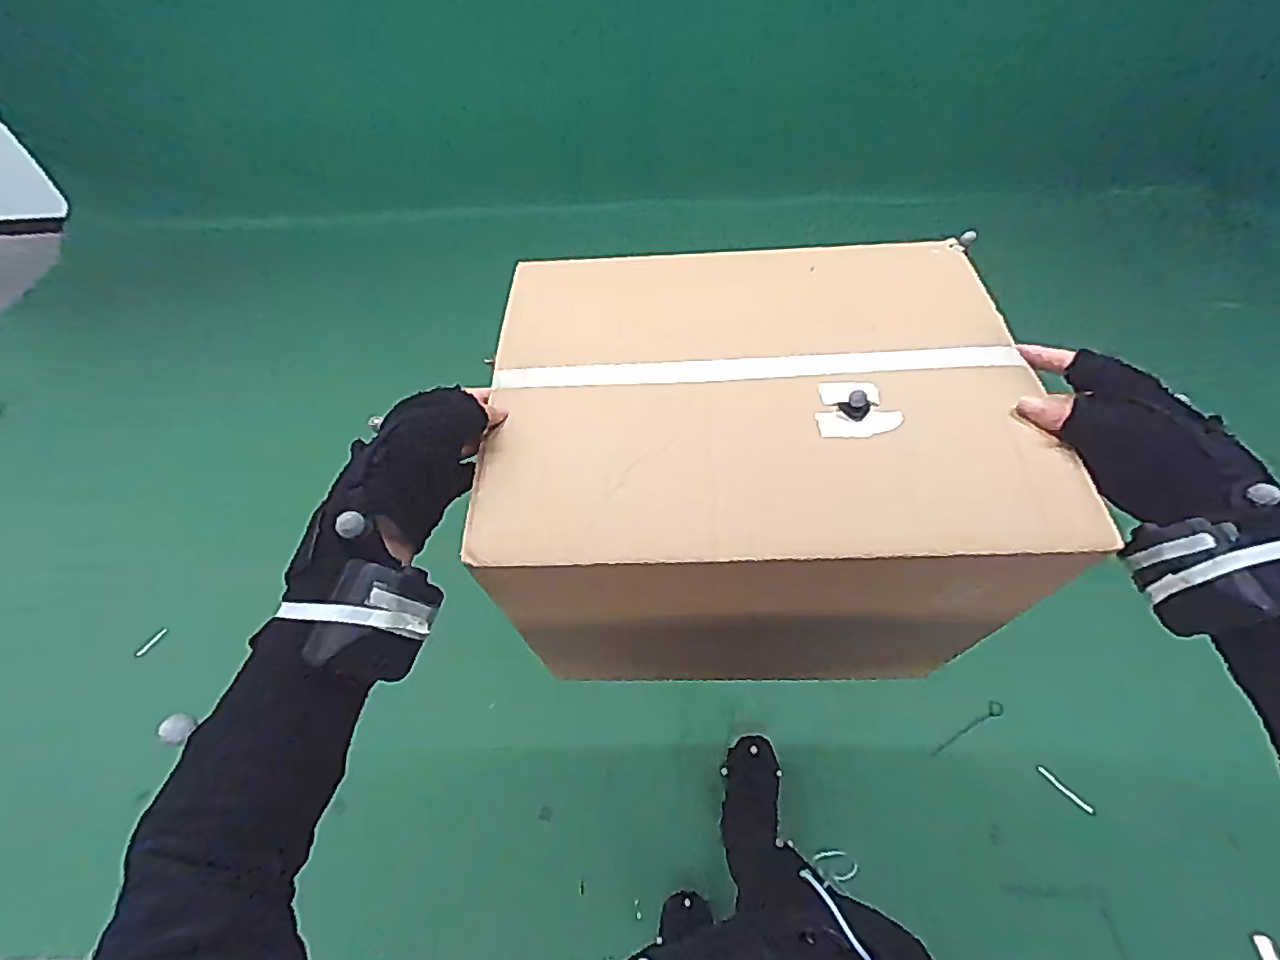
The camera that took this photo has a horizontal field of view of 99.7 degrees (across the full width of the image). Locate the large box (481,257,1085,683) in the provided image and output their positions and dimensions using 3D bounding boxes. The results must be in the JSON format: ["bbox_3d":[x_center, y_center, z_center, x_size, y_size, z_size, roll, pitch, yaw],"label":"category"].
[{"bbox_3d":[0.094,0.009,0.558,0.408,0.320,0.320,-3,57,3],"label":"large box"}]
